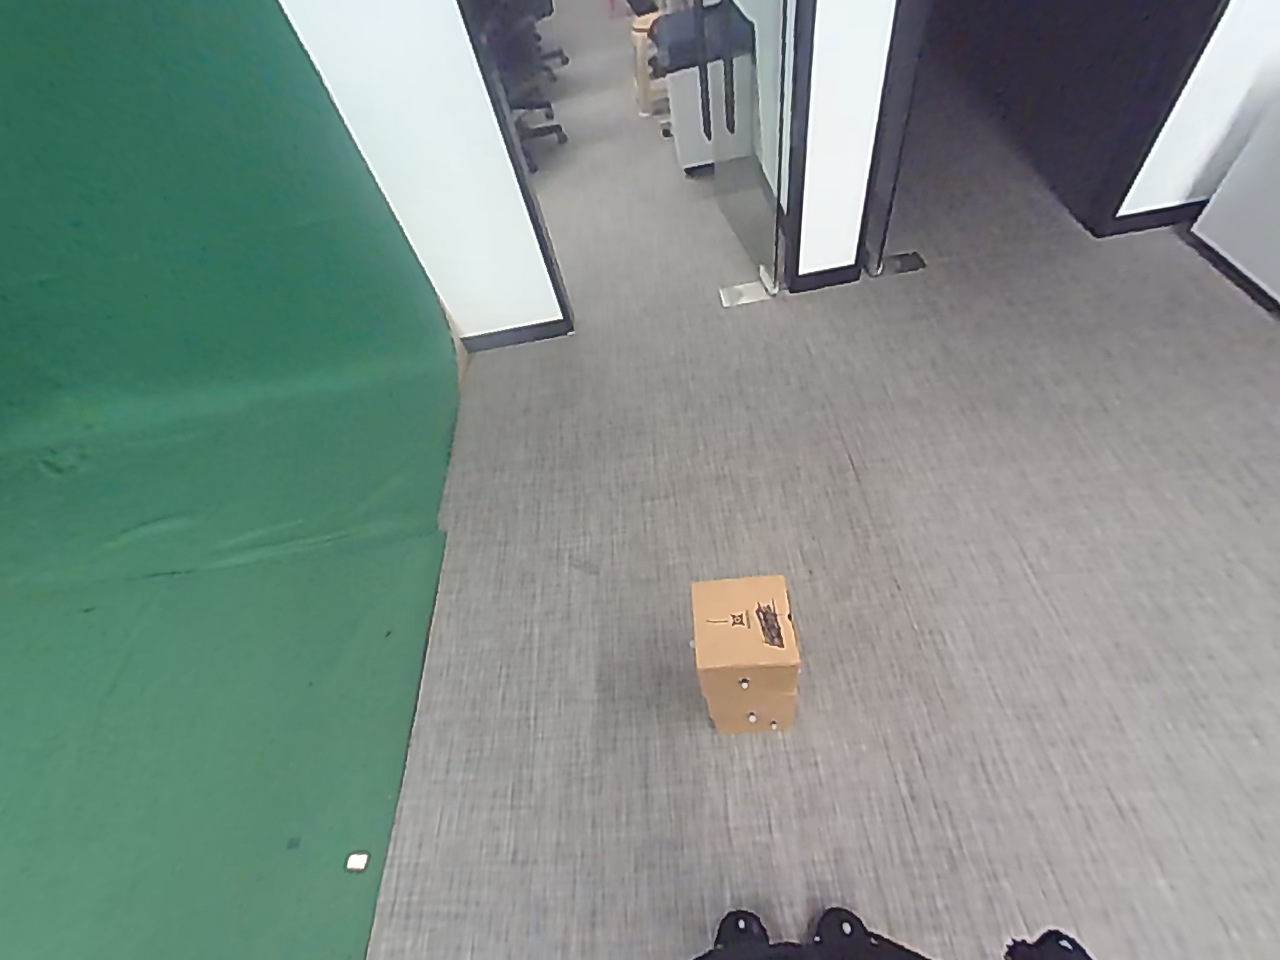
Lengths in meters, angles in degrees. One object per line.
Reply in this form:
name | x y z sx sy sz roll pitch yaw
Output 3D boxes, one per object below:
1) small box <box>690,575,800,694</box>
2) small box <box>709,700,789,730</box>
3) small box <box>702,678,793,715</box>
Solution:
small box | 0.192 0.297 1.027 0.179 0.176 0.168 -7 53 5
small box | 0.251 0.487 1.288 0.179 0.176 0.168 -8 52 8
small box | 0.222 0.395 1.155 0.179 0.176 0.168 -4 53 9
